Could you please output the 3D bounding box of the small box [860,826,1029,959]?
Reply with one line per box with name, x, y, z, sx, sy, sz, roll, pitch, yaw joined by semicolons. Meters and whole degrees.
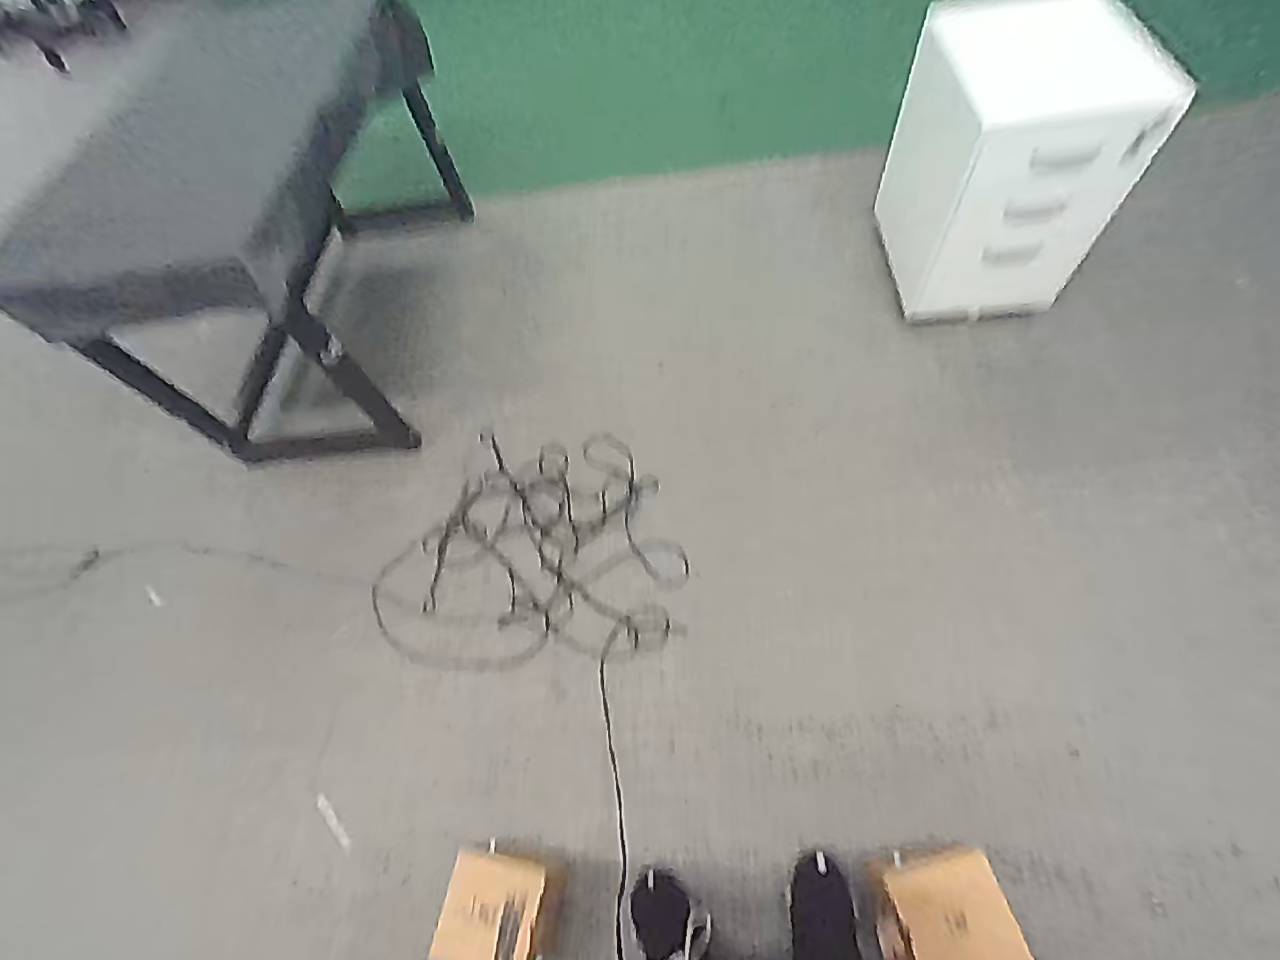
small box;0.515;0.727;0.946;0.179;0.176;0.168;-16;62;0
